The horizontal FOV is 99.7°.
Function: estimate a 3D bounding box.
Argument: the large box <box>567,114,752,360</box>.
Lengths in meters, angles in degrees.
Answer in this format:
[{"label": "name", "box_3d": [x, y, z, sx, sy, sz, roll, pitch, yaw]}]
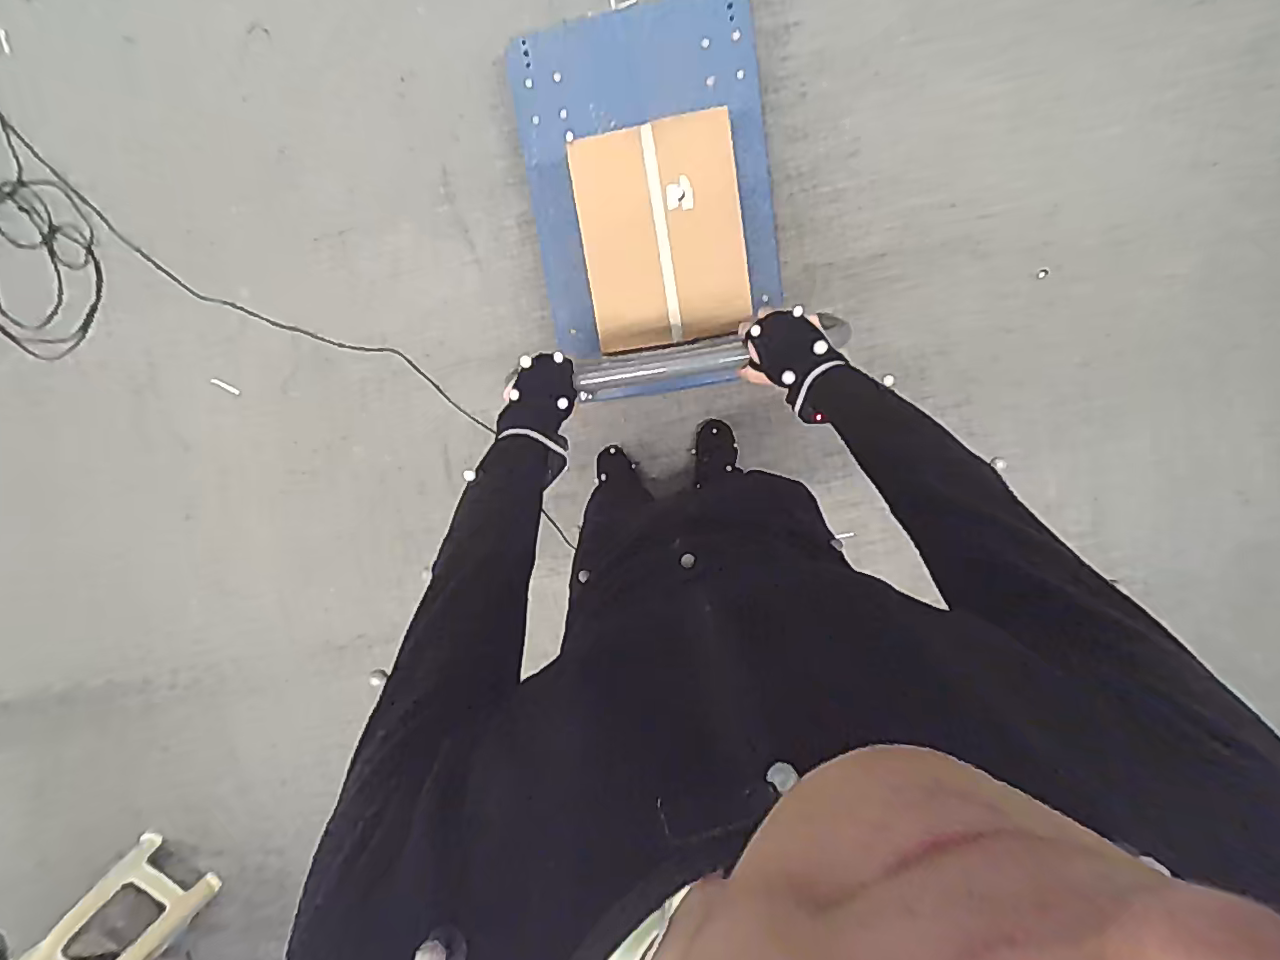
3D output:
[{"label": "large box", "box_3d": [0.055, -0.502, 1.211, 0.320, 0.320, 0.408, -8, 99, 6]}]
